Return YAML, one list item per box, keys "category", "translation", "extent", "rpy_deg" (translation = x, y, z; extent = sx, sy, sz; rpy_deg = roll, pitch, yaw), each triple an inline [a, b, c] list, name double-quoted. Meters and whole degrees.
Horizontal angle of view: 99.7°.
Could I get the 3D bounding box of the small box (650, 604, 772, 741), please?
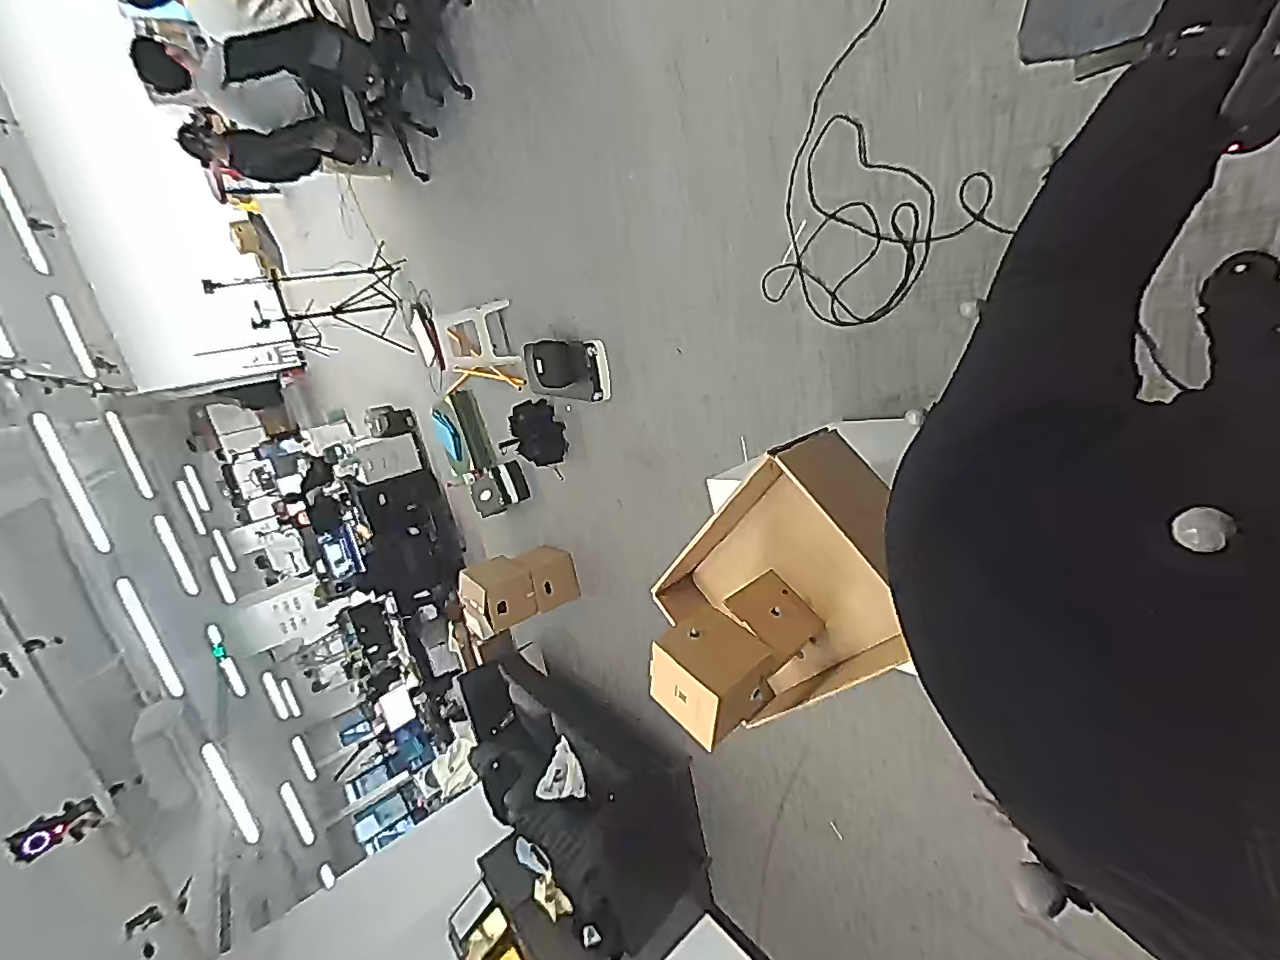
- category: "small box"
  translation: [0.142, 0.381, 1.108]
  extent: [0.179, 0.176, 0.168]
  rpy_deg: [30, 132, 39]
